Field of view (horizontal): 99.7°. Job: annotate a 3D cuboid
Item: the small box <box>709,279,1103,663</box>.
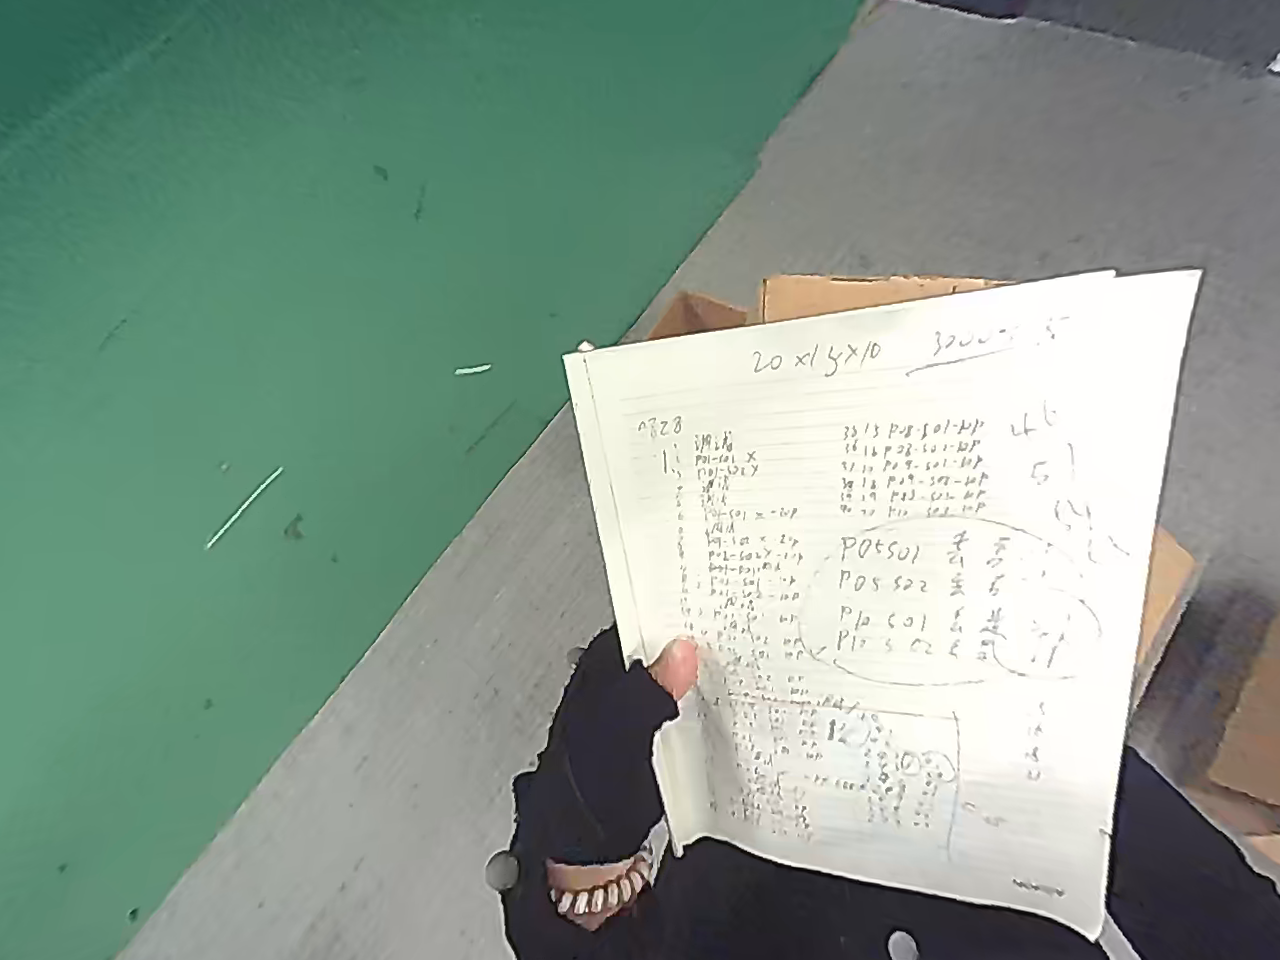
[{"bbox_3d":[0.132,-0.001,0.331,0.168,0.176,0.179,3,83,3],"label":"small box"}]
